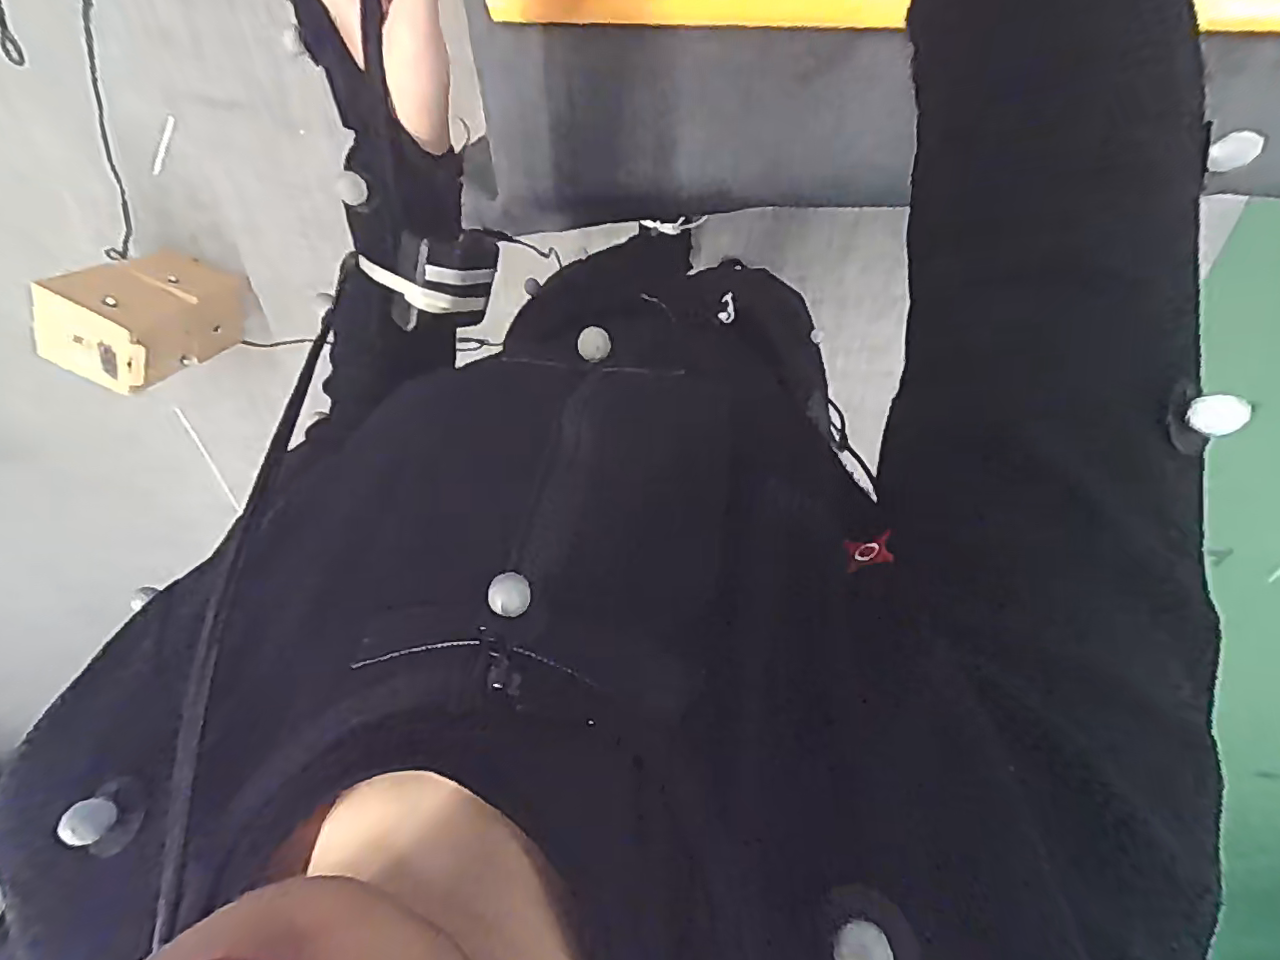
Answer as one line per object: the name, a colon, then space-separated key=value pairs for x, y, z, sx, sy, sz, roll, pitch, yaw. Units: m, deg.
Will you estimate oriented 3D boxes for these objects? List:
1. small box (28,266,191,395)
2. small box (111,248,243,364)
small box: x=-1.075 y=-0.313 z=1.110 sx=0.179 sy=0.176 sz=0.168 roll=28 pitch=121 yaw=-14
small box: x=-1.054 y=-0.404 z=1.246 sx=0.168 sy=0.176 sz=0.179 roll=24 pitch=123 yaw=-11
